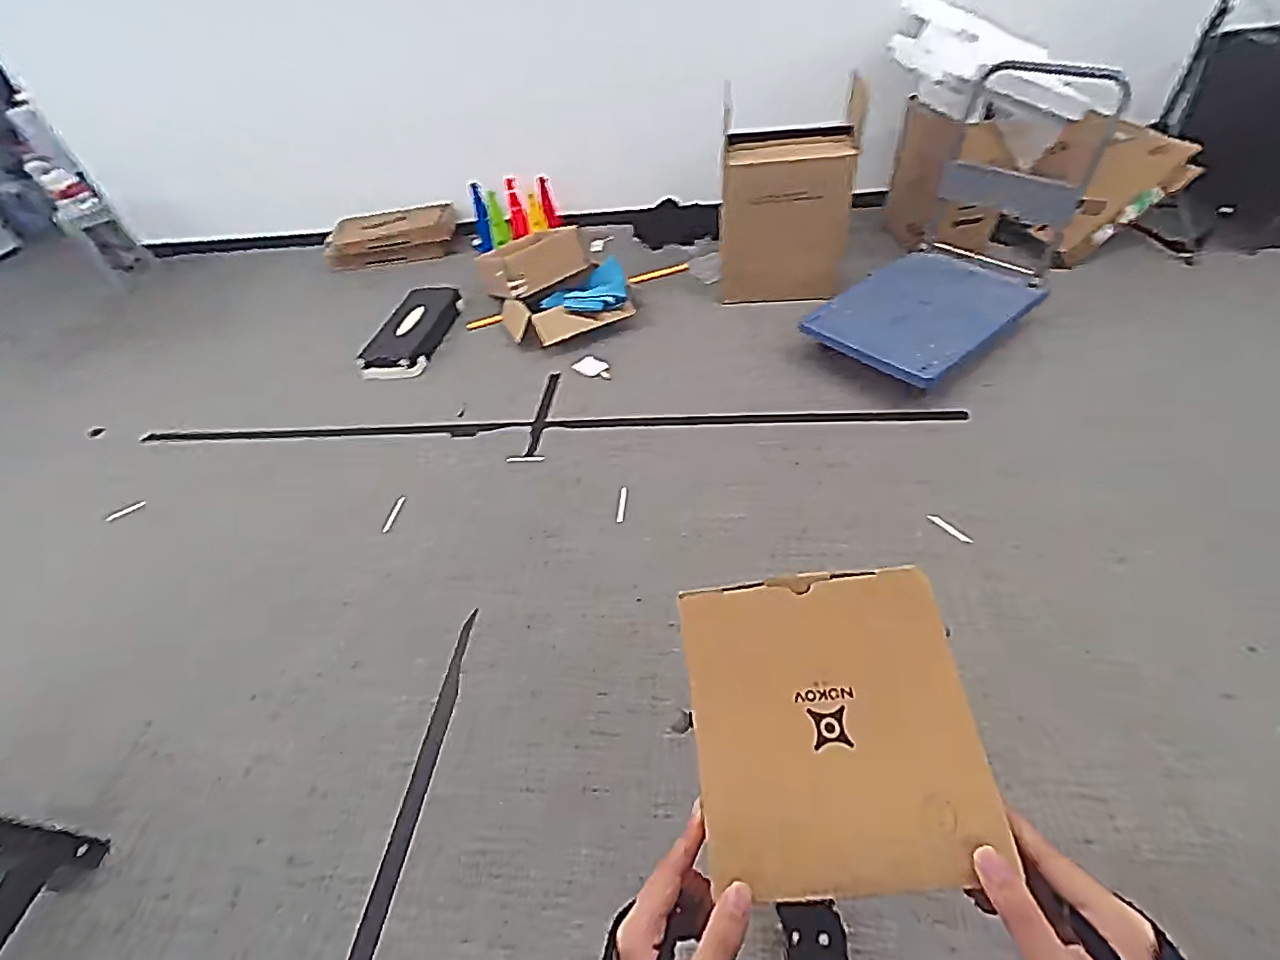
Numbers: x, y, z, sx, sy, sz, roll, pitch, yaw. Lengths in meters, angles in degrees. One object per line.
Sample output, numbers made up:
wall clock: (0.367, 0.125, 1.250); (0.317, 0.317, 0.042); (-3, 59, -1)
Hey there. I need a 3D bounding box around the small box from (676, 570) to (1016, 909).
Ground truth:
small box: (0.123, 0.182, 0.399); (0.168, 0.176, 0.179); (-8, 63, 4)
